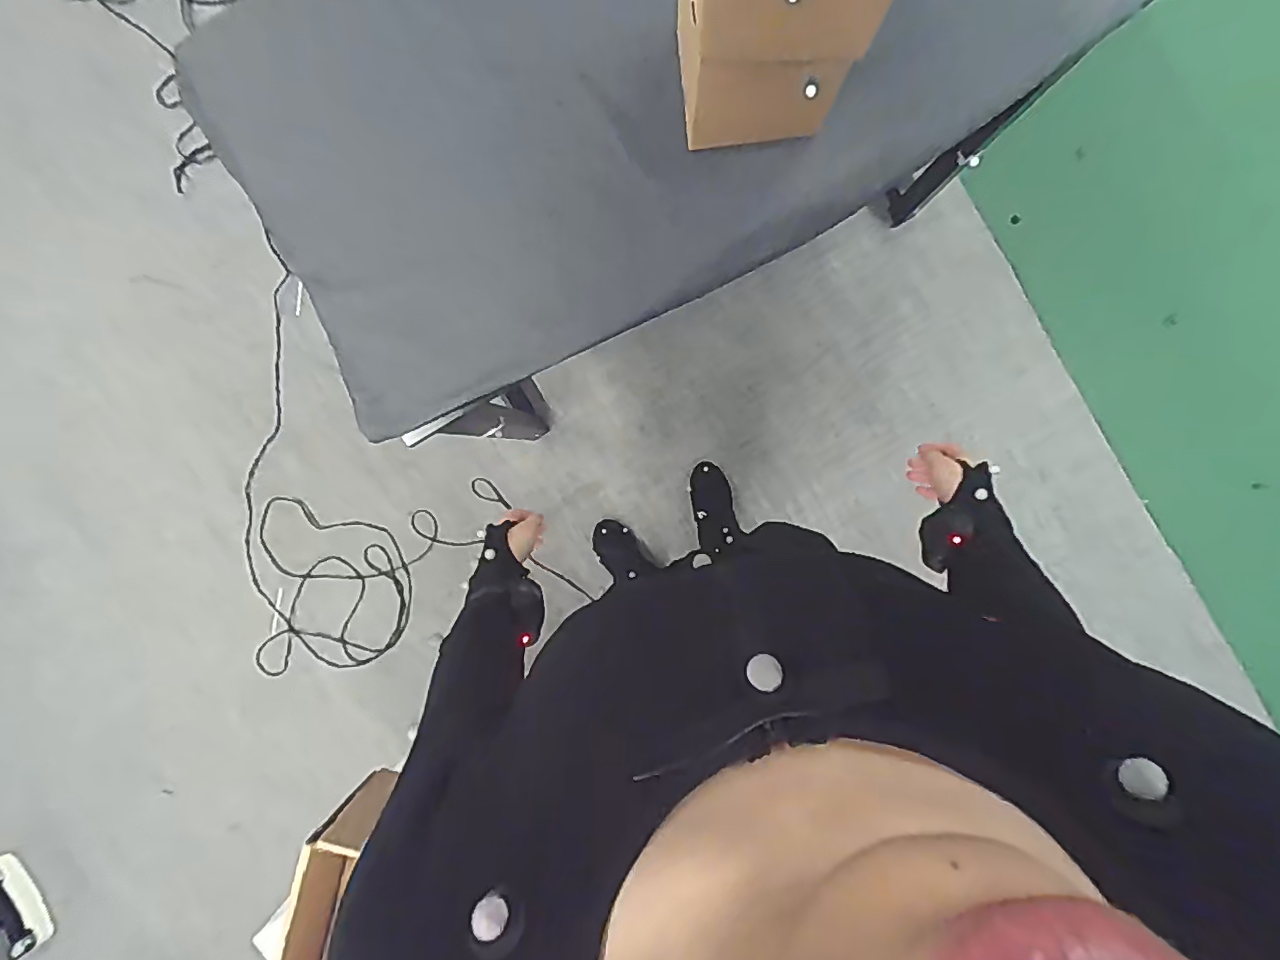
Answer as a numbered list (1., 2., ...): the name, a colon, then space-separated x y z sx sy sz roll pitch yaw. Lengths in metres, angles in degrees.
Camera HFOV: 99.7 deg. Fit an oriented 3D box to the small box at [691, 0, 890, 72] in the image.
1. small box: 0.140 -0.502 0.479 0.179 0.176 0.168 1 91 3
